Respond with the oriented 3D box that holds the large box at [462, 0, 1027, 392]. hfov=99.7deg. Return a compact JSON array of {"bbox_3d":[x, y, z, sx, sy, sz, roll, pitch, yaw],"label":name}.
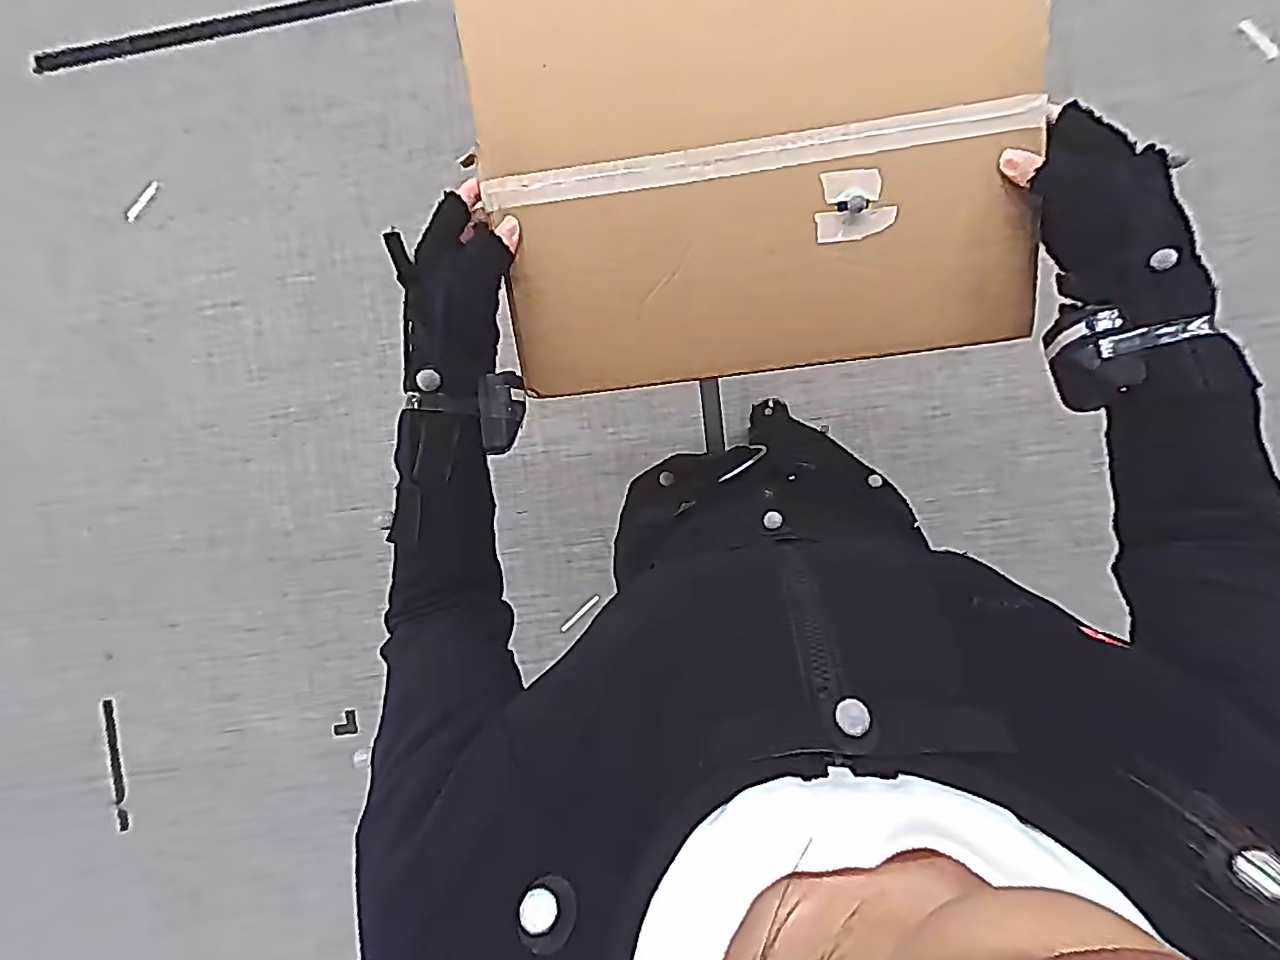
[{"bbox_3d":[0.088,-0.284,0.557,0.408,0.320,0.320,-7,105,3],"label":"large box"}]
